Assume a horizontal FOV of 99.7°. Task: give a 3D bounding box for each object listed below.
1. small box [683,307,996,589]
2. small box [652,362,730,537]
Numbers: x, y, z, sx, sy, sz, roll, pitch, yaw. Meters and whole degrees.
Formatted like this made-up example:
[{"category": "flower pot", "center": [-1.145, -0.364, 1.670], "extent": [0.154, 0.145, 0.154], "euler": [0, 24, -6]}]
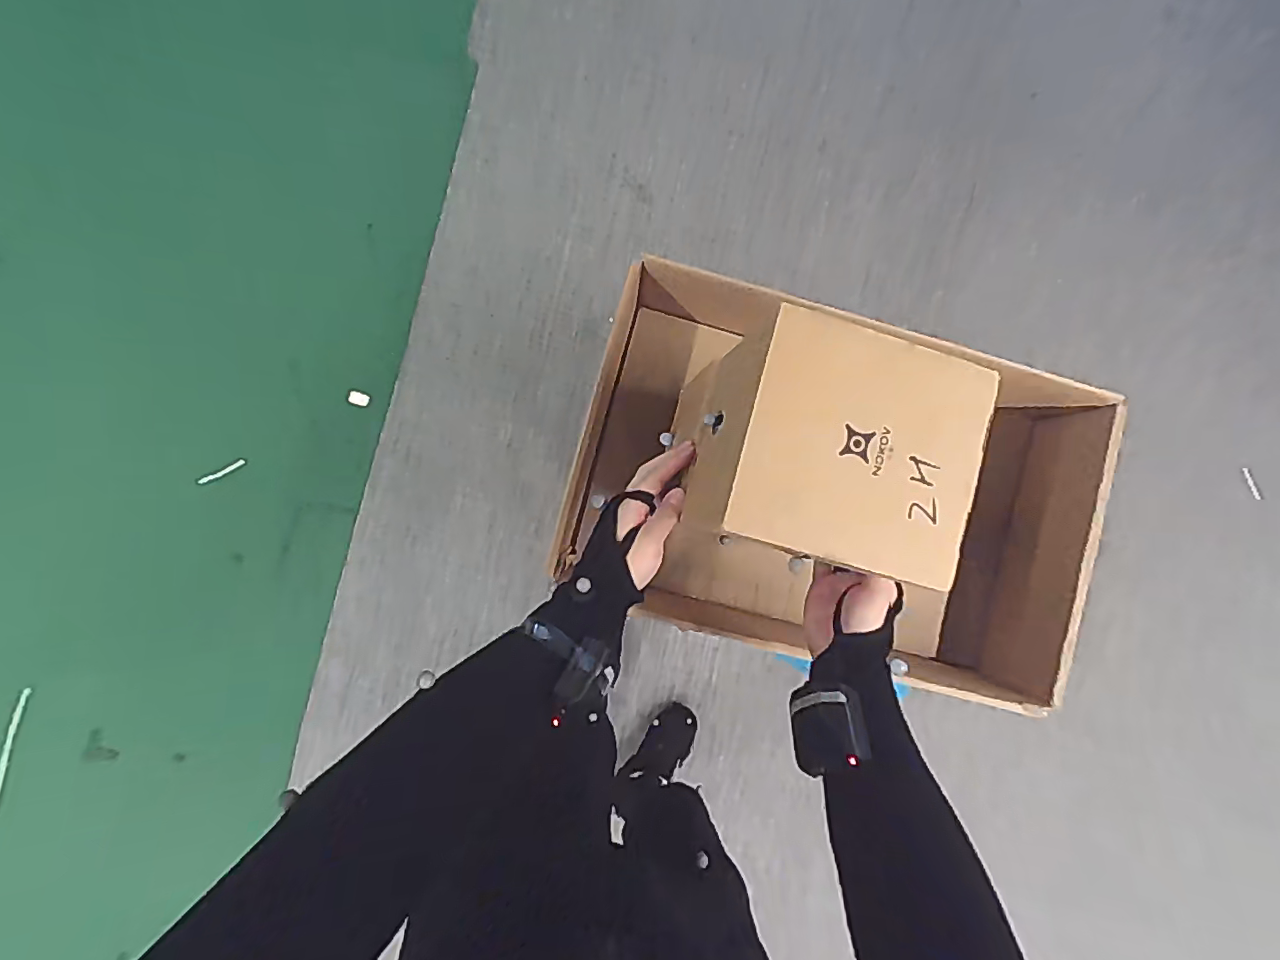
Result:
[{"category": "small box", "center": [0.148, -0.018, 0.460], "extent": [0.179, 0.176, 0.168], "euler": [16, 86, -7]}, {"category": "small box", "center": [0.126, -0.016, 0.624], "extent": [0.179, 0.176, 0.168], "euler": [16, 85, -7]}]
